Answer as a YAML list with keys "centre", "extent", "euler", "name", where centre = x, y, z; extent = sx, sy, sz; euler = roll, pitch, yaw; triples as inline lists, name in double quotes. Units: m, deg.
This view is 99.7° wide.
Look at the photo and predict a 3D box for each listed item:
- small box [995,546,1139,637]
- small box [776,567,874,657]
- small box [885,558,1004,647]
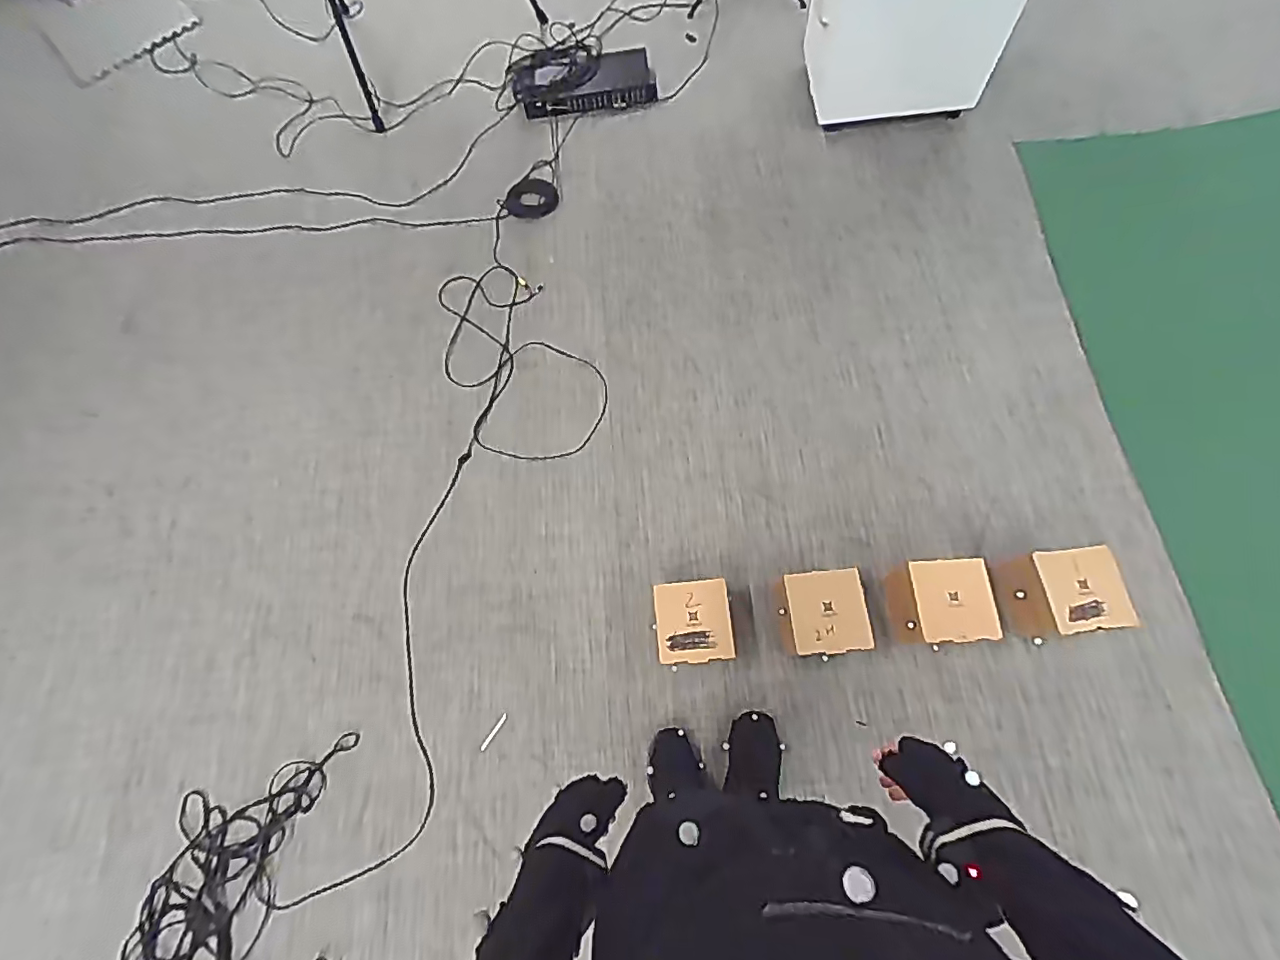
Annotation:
- centre: [0.950, 0.259, 1.223]
  extent: [0.168, 0.176, 0.179]
  euler: [-7, 69, 2]
  name: "small box"
- centre: [0.417, 0.309, 1.250]
  extent: [0.168, 0.176, 0.179]
  euler: [-6, 70, 4]
  name: "small box"
- centre: [0.683, 0.284, 1.239]
  extent: [0.168, 0.176, 0.179]
  euler: [-4, 70, 3]
  name: "small box"
